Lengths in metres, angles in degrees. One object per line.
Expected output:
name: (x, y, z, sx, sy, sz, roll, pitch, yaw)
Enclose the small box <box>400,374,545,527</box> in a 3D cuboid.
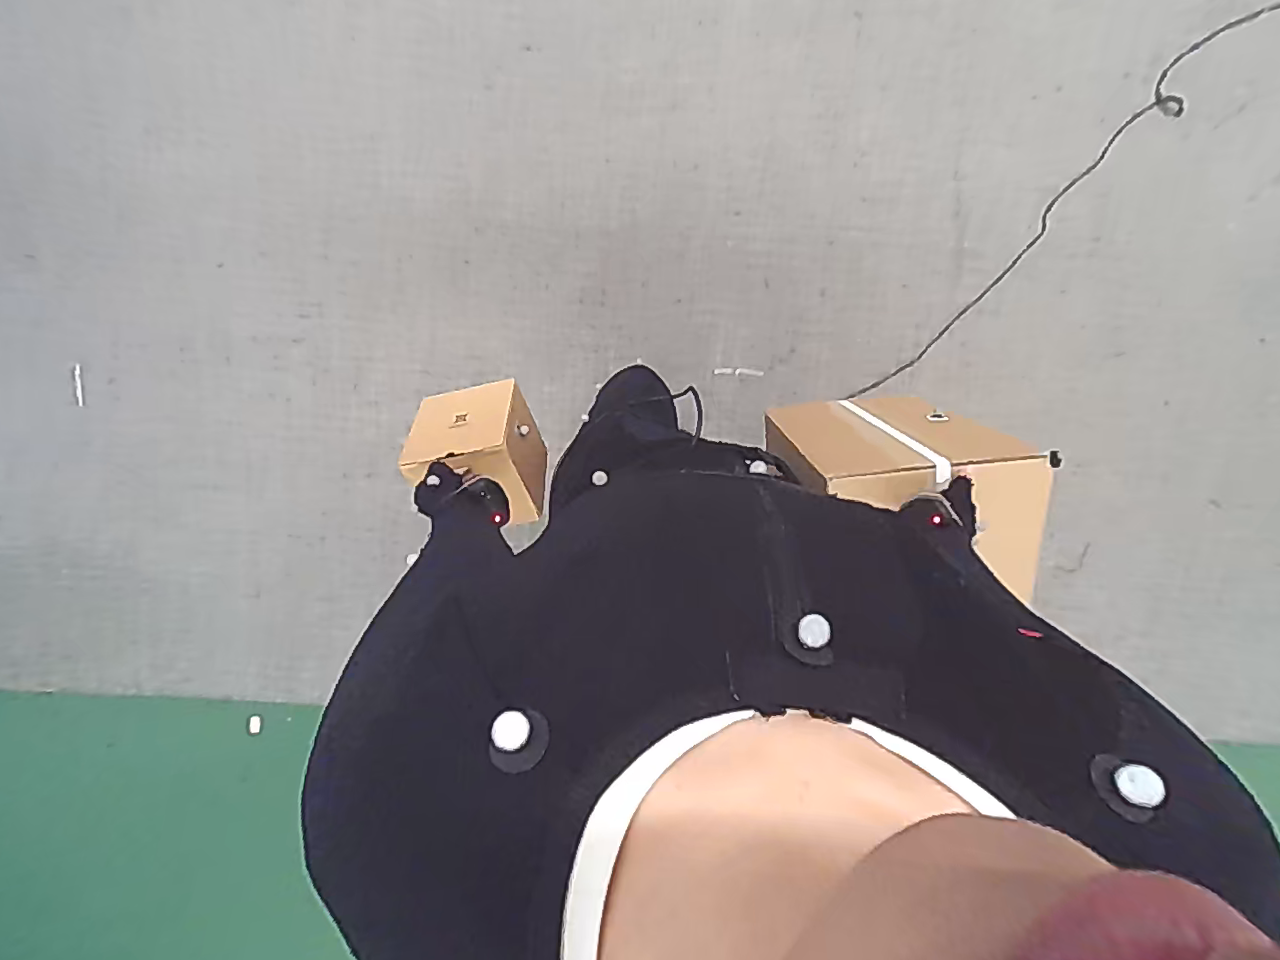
small box: (-0.265, -0.047, 0.905, 0.168, 0.179, 0.176, -11, 135, 6)
